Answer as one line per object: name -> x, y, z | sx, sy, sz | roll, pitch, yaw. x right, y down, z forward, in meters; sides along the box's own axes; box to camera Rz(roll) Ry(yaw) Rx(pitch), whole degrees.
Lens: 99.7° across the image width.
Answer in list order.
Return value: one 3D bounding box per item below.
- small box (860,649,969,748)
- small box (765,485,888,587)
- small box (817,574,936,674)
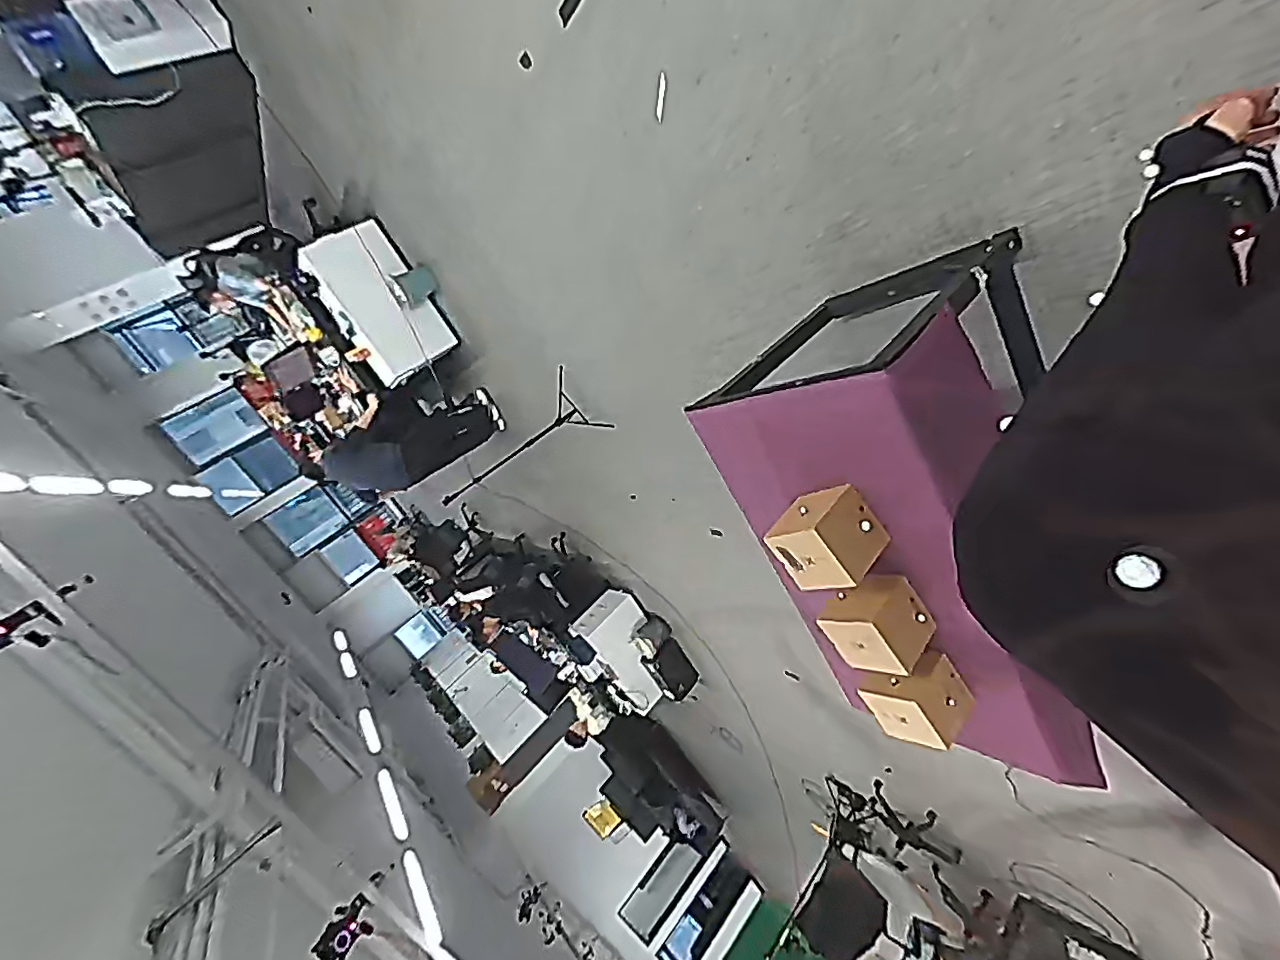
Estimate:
small box -> 0.718, 0.551, 1.403 | 0.168, 0.176, 0.179 | 54, 153, -10
small box -> 0.438, 0.133, 1.271 | 0.168, 0.176, 0.179 | 51, 152, -6
small box -> 0.585, 0.346, 1.335 | 0.168, 0.176, 0.179 | 52, 153, -9
